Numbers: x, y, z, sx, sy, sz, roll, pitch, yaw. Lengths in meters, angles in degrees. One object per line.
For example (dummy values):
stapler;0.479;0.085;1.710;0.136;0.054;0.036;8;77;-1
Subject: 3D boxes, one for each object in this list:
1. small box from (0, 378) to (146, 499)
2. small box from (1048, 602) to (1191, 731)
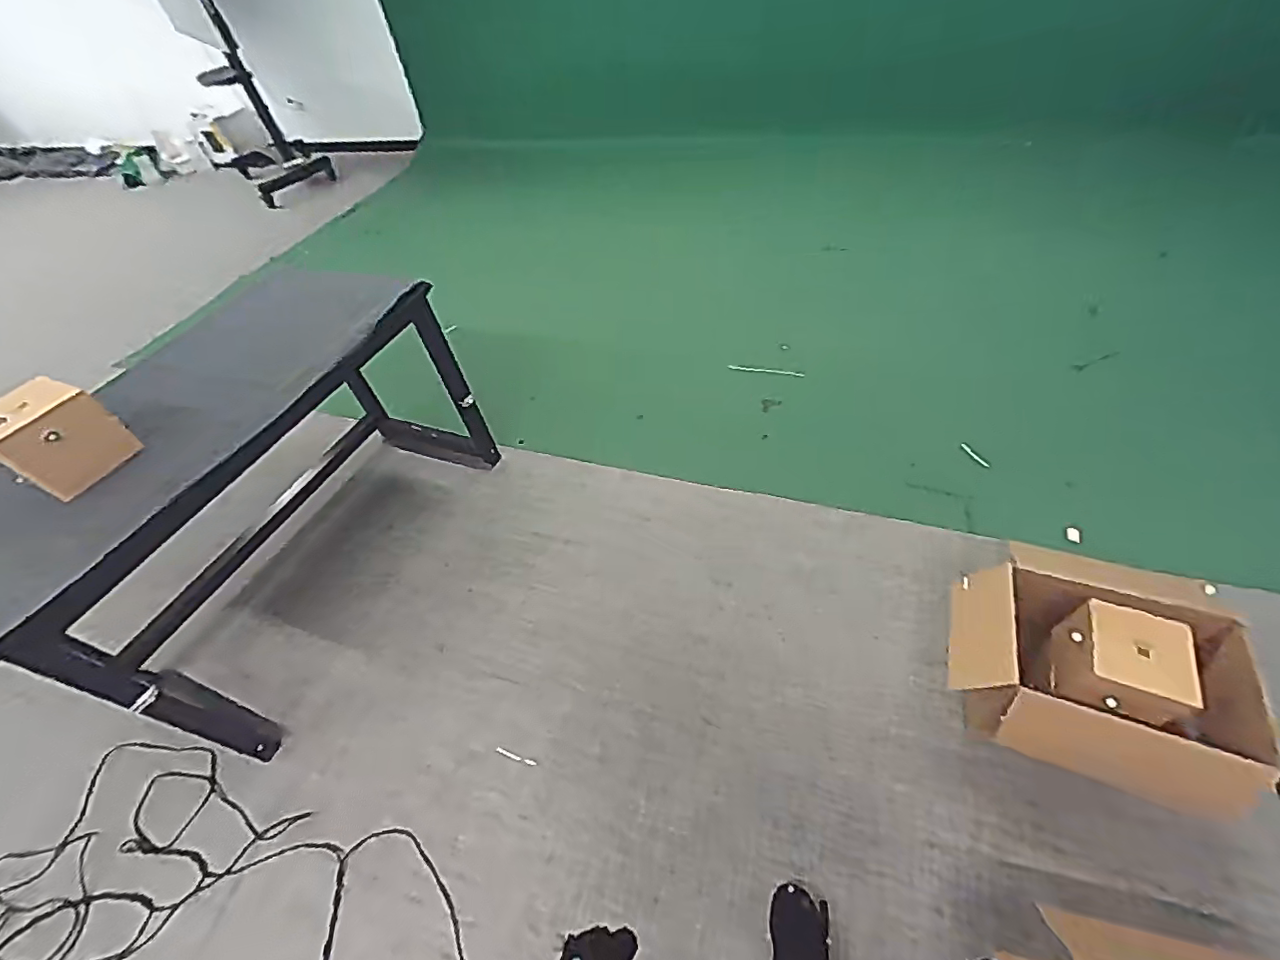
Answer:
small box;-1.230;-0.086;1.149;0.168;0.176;0.179;16;52;21
small box;0.980;0.391;1.124;0.168;0.176;0.179;15;54;20
